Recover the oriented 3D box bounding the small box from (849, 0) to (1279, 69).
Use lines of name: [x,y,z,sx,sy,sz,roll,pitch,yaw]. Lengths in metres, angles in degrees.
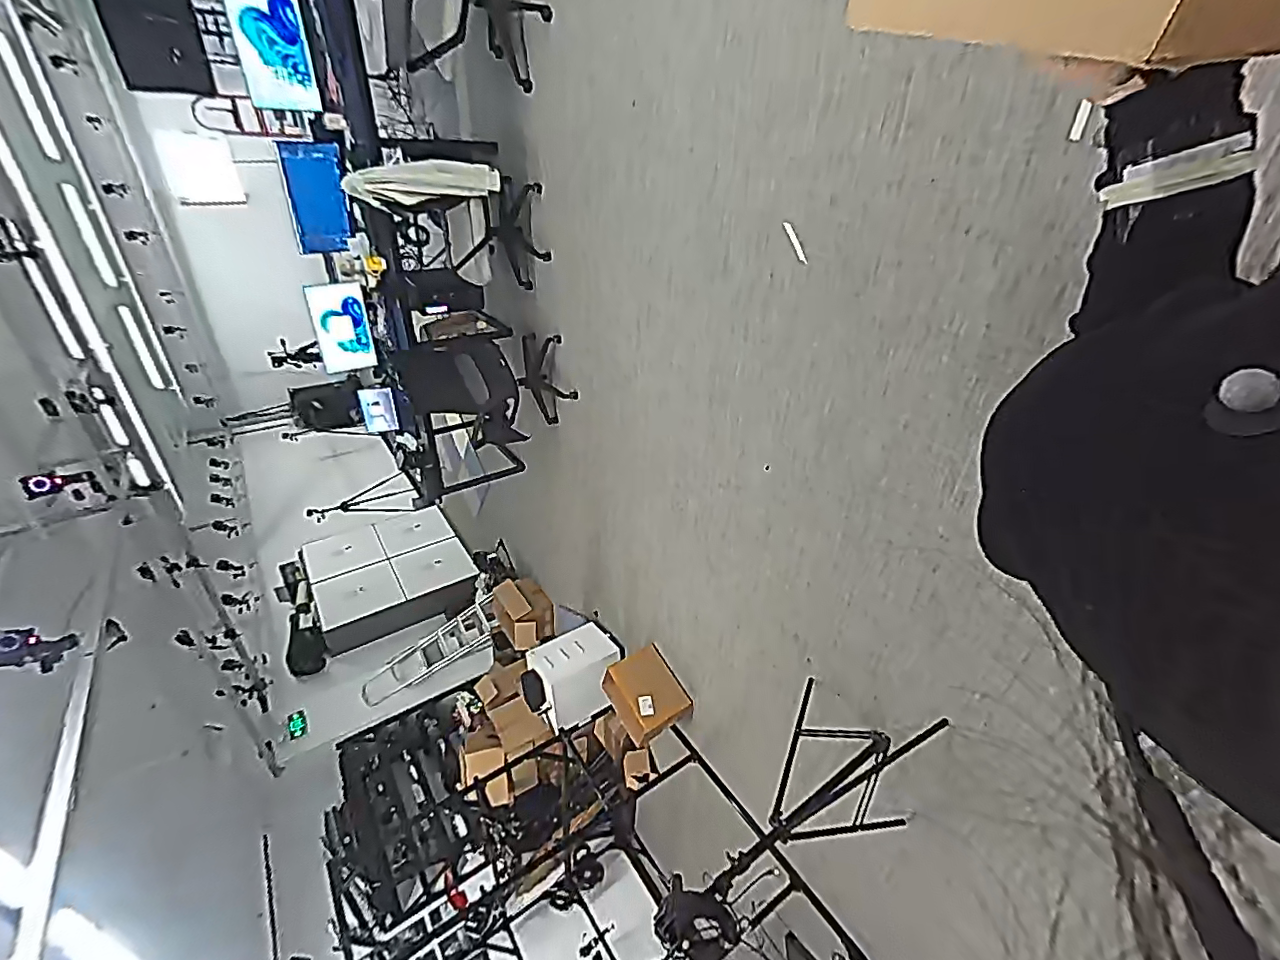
small box: [0.241,-0.309,0.250,0.179,0.176,0.168,51,152,39]
